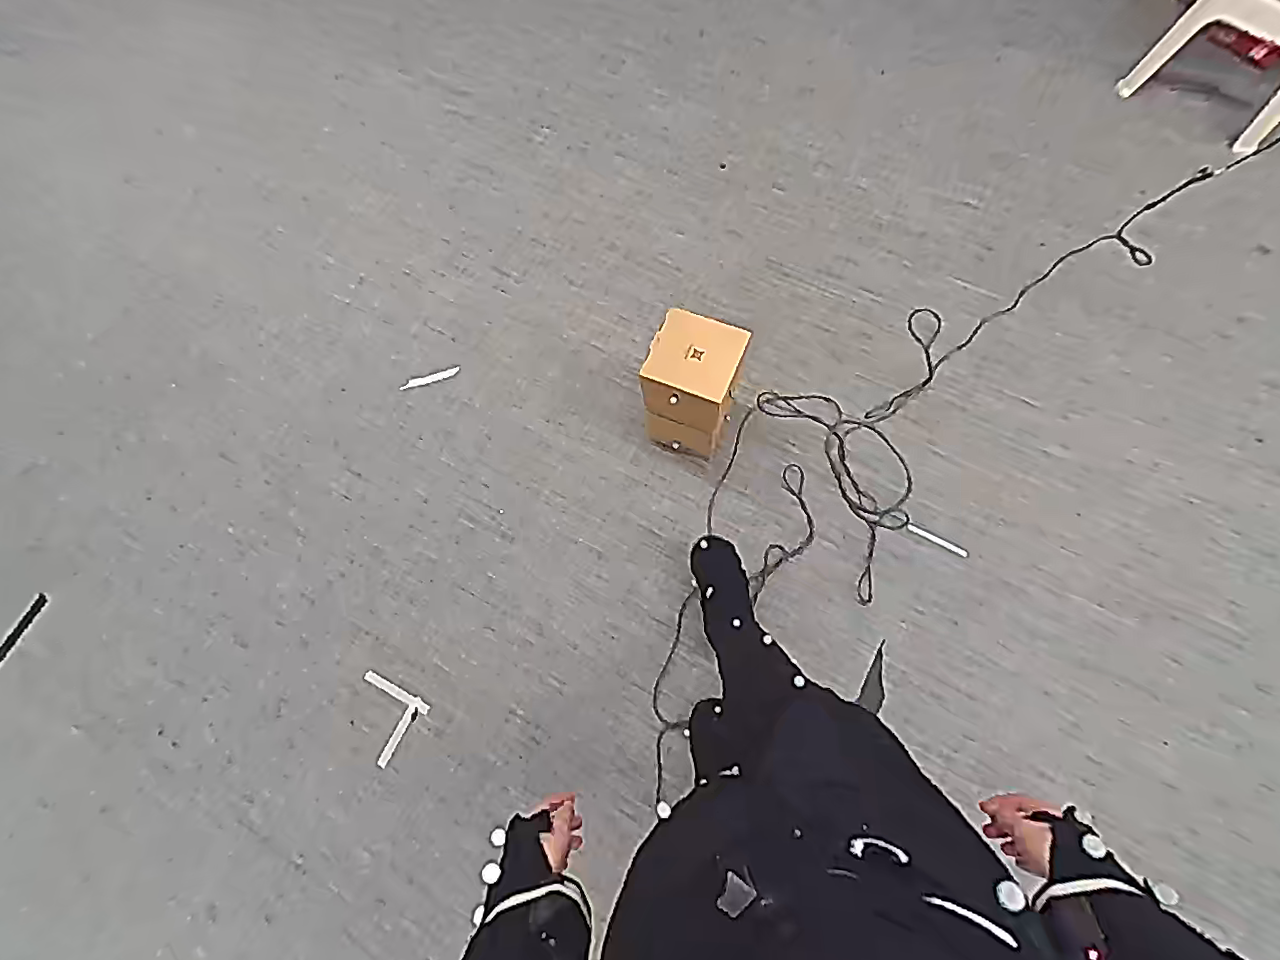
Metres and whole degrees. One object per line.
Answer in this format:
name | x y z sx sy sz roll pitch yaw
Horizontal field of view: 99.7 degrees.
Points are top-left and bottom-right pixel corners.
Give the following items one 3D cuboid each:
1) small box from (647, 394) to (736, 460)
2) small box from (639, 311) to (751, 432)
small box | 0.127 -0.173 1.287 0.168 0.176 0.179 19 77 11
small box | 0.116 -0.218 1.132 0.179 0.176 0.168 21 77 12
